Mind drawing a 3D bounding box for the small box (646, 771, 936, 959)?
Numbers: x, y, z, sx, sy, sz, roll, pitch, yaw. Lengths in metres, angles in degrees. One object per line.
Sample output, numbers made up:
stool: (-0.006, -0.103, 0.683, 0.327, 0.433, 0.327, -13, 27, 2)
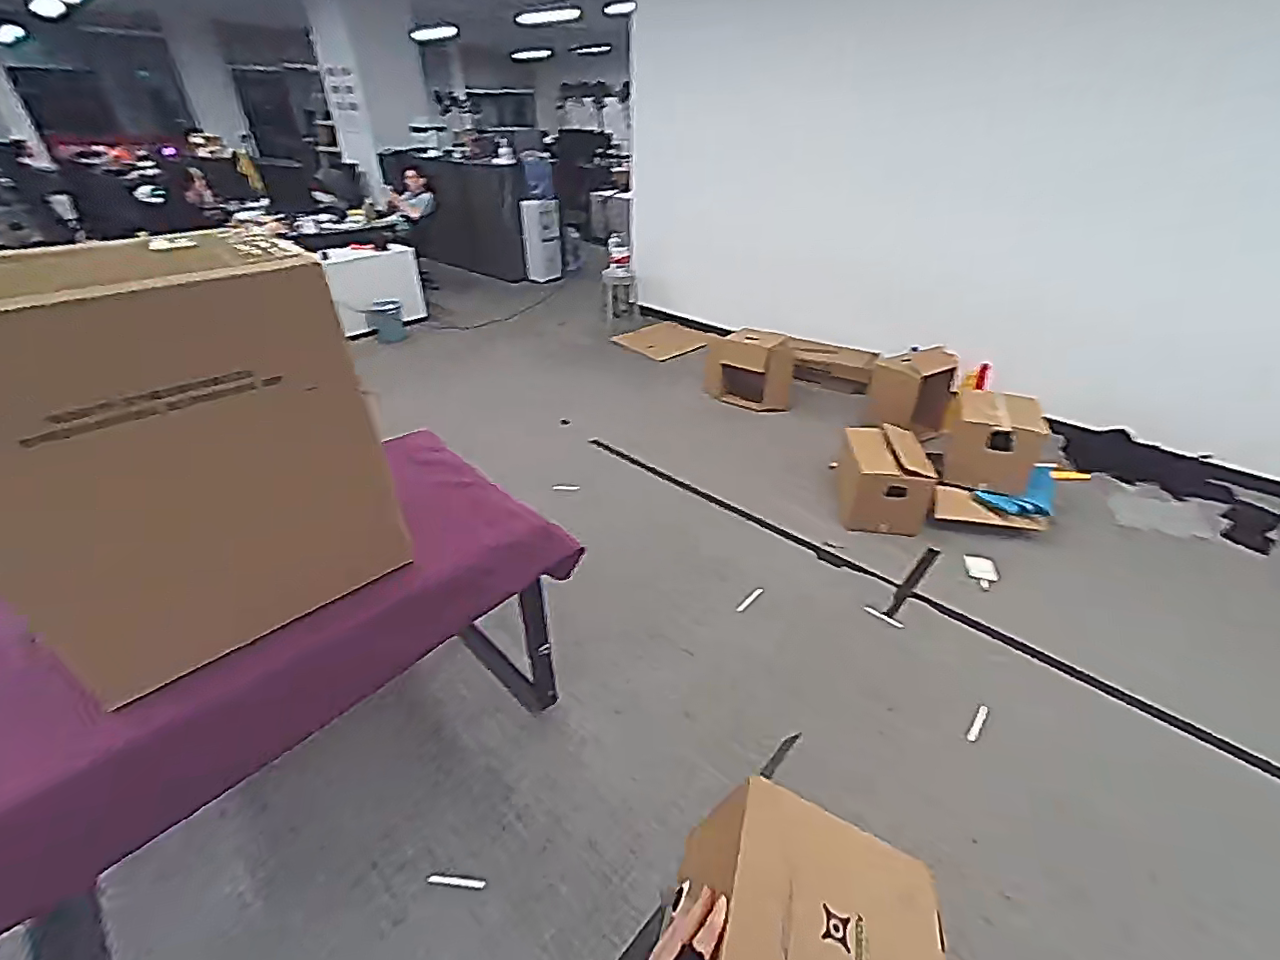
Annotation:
small box: (0.116, 0.388, 0.446, 0.179, 0.176, 0.168, 24, 34, 4)
